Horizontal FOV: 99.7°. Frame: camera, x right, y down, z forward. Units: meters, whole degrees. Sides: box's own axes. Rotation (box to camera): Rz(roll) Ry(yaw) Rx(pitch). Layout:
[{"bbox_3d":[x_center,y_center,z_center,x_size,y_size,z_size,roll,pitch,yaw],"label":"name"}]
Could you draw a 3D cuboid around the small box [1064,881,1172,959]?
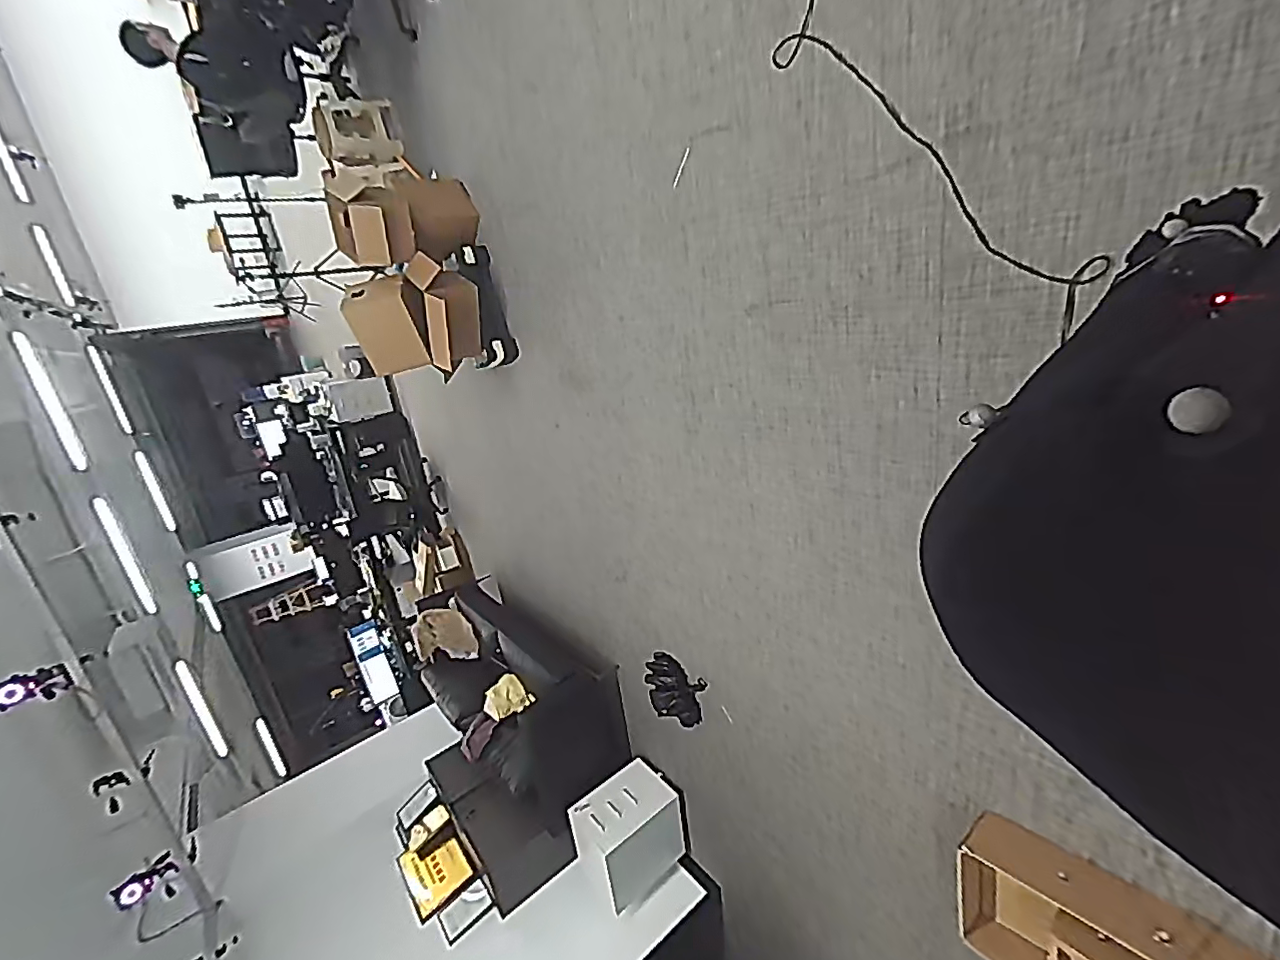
[{"bbox_3d":[1.249,1.206,1.417,0.179,0.176,0.168,12,119,51],"label":"small box"}]
